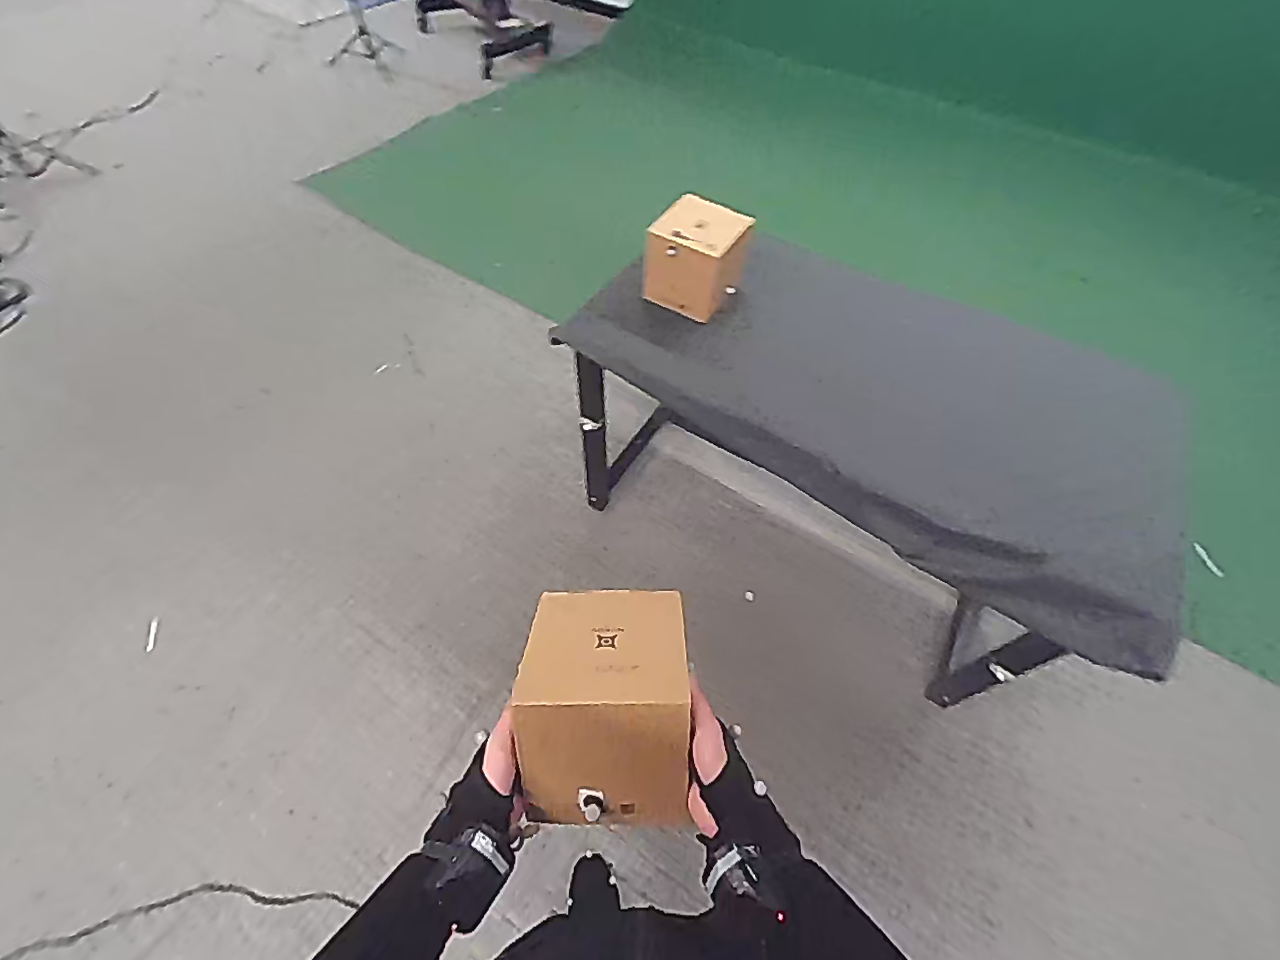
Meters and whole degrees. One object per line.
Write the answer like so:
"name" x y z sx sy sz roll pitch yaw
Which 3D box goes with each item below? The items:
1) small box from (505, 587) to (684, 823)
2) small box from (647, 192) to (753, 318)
"small box" -0.041 0.237 0.593 0.168 0.176 0.179 -1 24 0
"small box" 0.124 -0.494 1.193 0.168 0.176 0.179 28 59 15
